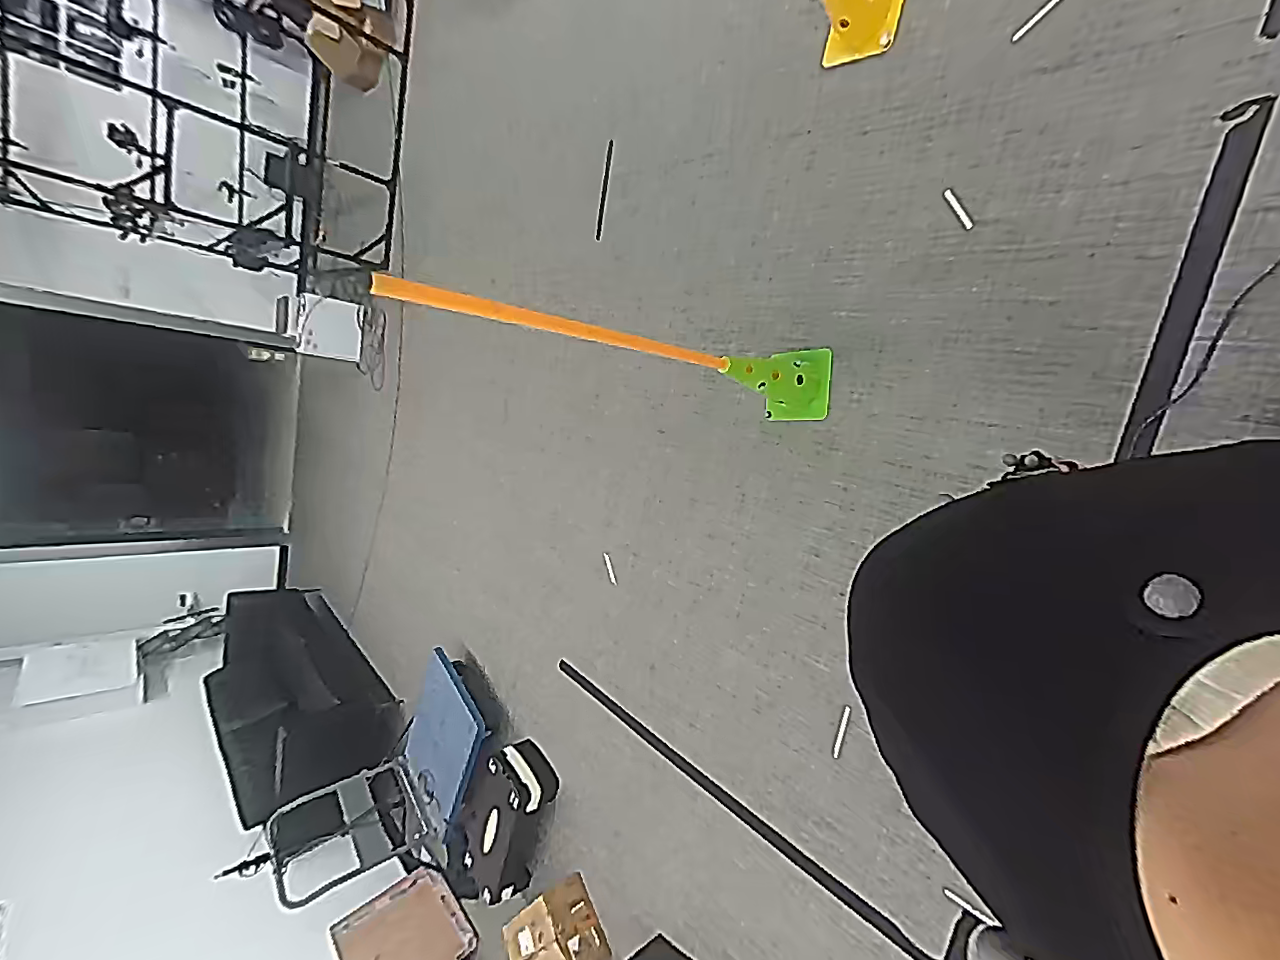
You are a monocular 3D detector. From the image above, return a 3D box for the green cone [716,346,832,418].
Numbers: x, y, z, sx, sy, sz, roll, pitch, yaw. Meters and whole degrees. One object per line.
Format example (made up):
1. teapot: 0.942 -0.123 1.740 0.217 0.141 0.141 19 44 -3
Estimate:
1. green cone: 0.330 -0.286 1.434 0.200 0.368 0.202 5 91 46
